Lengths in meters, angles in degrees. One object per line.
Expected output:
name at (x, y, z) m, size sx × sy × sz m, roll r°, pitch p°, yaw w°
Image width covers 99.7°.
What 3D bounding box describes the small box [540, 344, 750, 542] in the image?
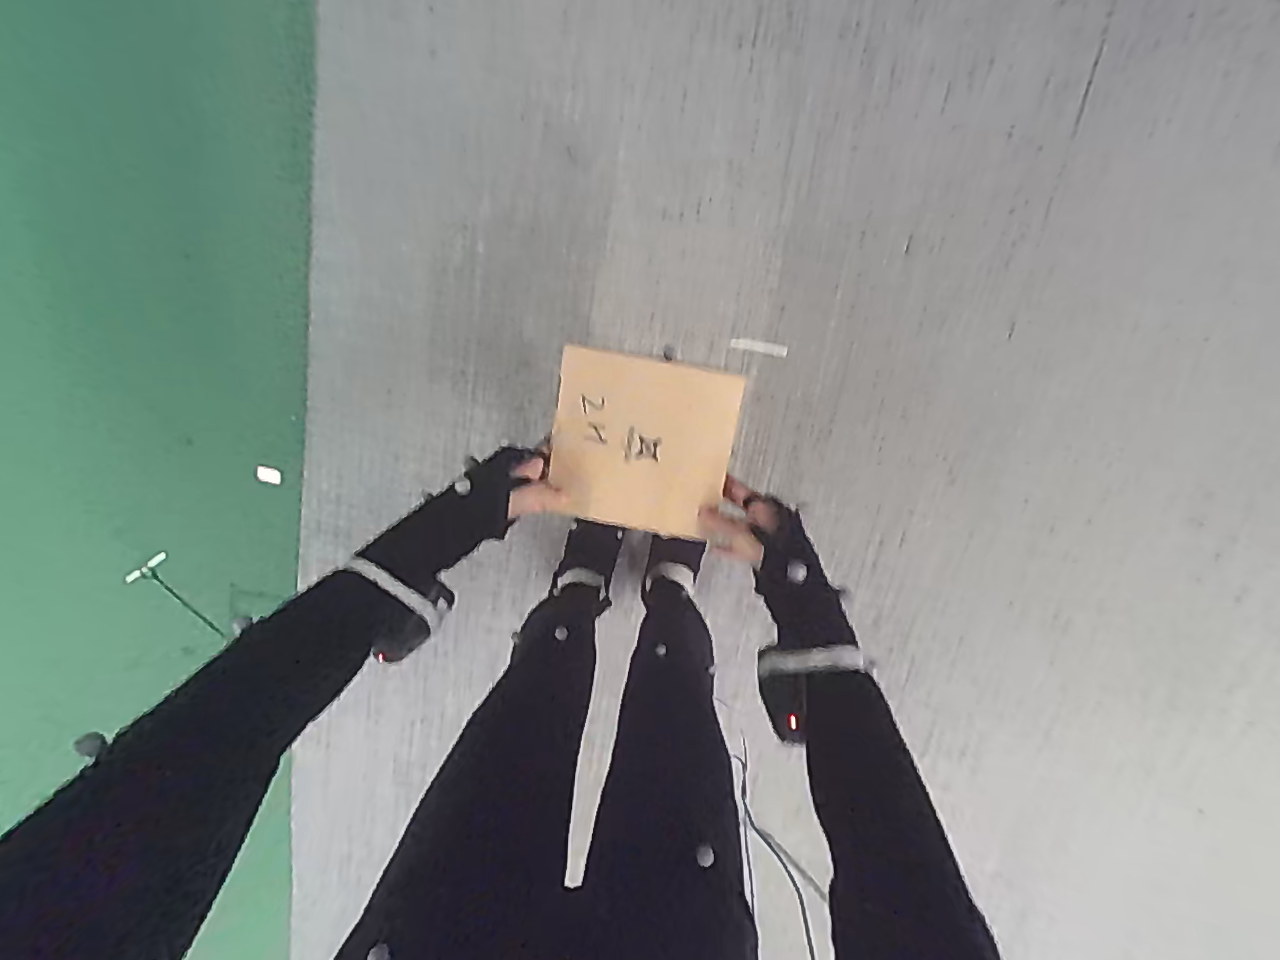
small box at (0.006, -0.050, 0.591) m, size 0.179 × 0.176 × 0.168 m, roll 12°, pitch 103°, yaw 1°
